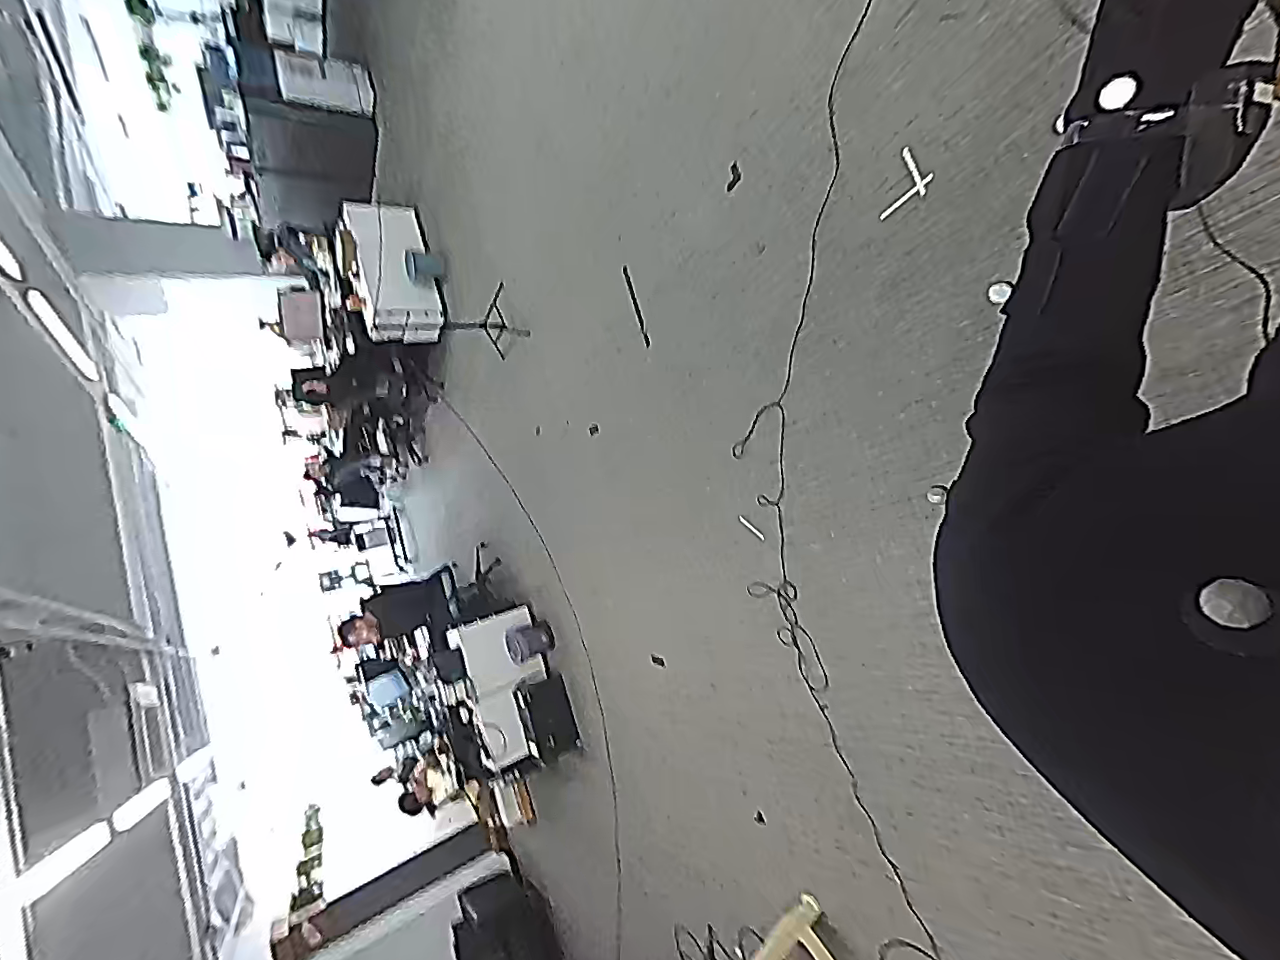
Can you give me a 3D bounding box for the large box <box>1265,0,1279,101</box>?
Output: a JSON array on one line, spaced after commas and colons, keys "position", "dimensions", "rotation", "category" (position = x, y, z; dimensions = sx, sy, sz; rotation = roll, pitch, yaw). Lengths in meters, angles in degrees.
[{"position": [0.552, -0.374, 0.184], "dimensions": [0.408, 0.320, 0.320], "rotation": [13, 121, 50], "category": "large box"}]
